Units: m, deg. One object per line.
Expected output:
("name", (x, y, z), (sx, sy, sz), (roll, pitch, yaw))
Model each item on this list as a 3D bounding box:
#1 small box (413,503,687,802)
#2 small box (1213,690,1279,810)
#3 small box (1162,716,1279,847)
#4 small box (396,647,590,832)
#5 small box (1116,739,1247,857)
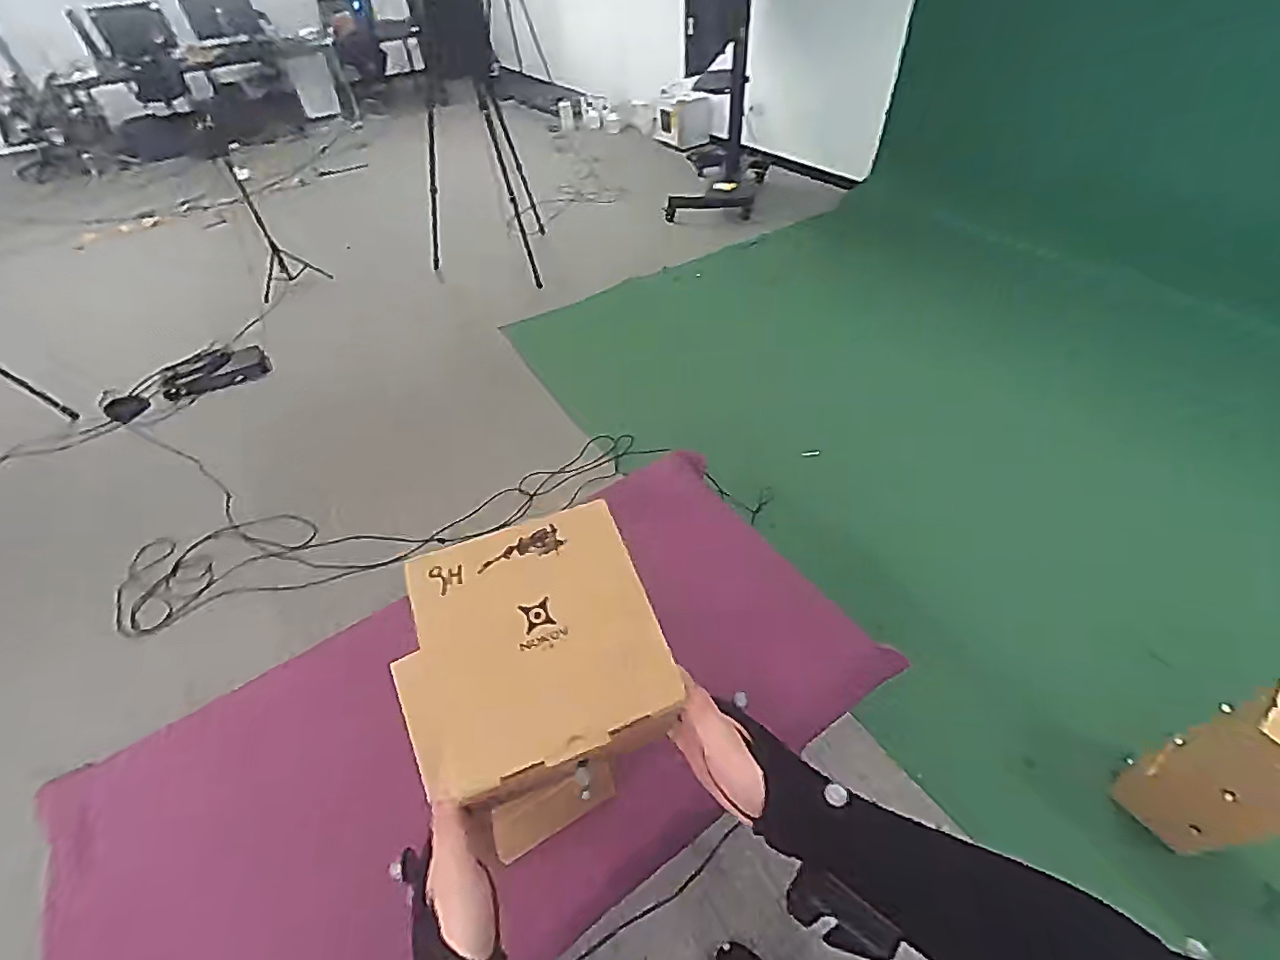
("small box", (-0.075, 0.150, 0.464), (0.168, 0.176, 0.179), (-16, 61, -14))
("small box", (1.303, 0.543, 1.059), (0.168, 0.176, 0.179), (-32, 53, -23))
("small box", (1.314, 0.659, 1.175), (0.168, 0.176, 0.179), (-30, 50, -22))
("small box", (-0.162, 0.282, 0.653), (0.179, 0.176, 0.168), (-25, 49, -18))
("small box", (1.317, 0.768, 1.295), (0.168, 0.176, 0.179), (-28, 50, -20))
